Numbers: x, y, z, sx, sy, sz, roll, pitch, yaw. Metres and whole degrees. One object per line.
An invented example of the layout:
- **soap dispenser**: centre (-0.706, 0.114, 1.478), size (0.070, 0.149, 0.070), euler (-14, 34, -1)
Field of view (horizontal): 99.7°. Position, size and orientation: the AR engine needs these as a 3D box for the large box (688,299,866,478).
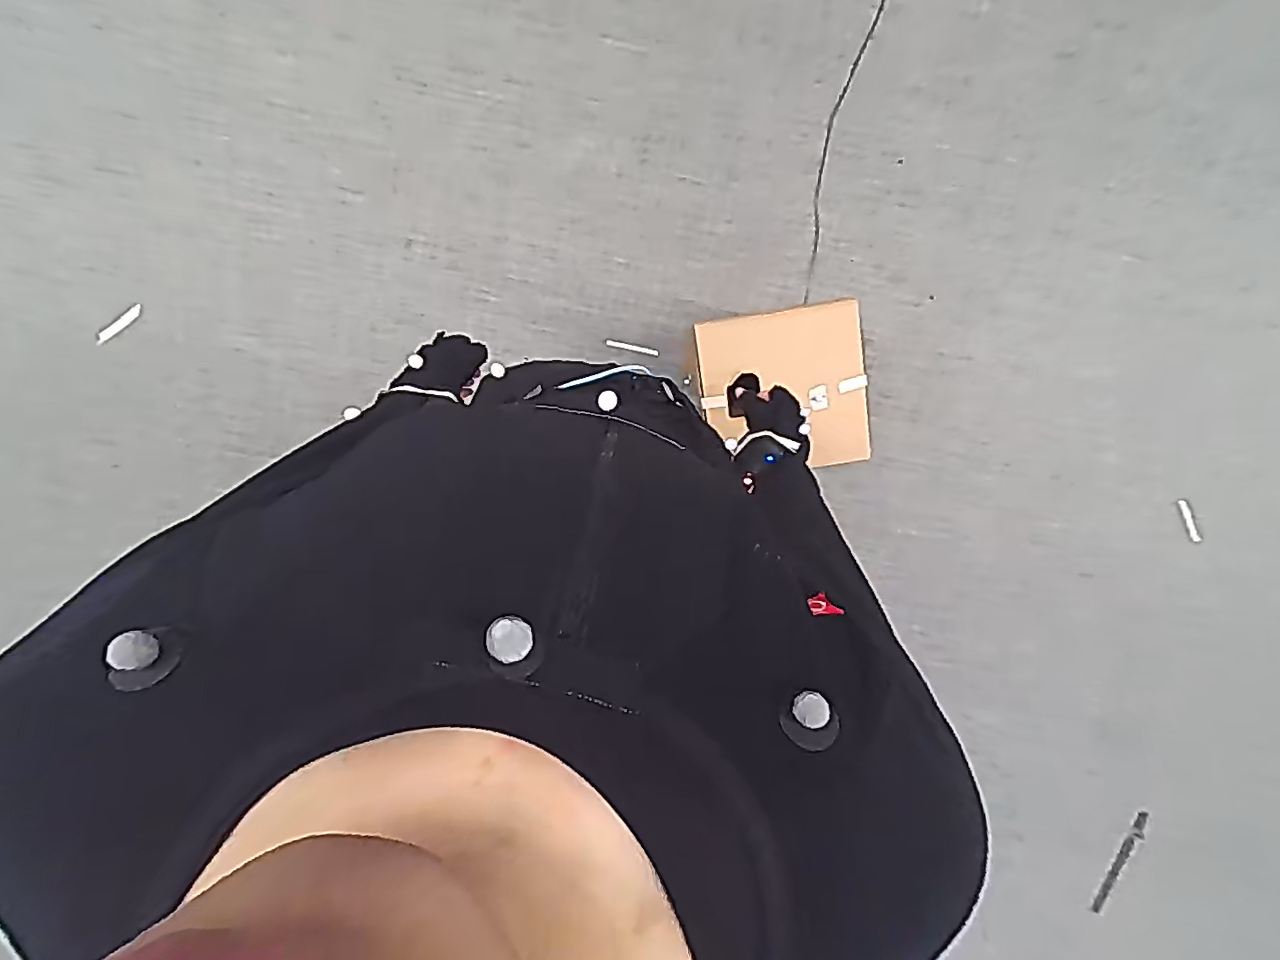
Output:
- **large box**: centre (0.288, -0.207, 1.245), size (0.320, 0.408, 0.320), euler (-7, 100, 5)
